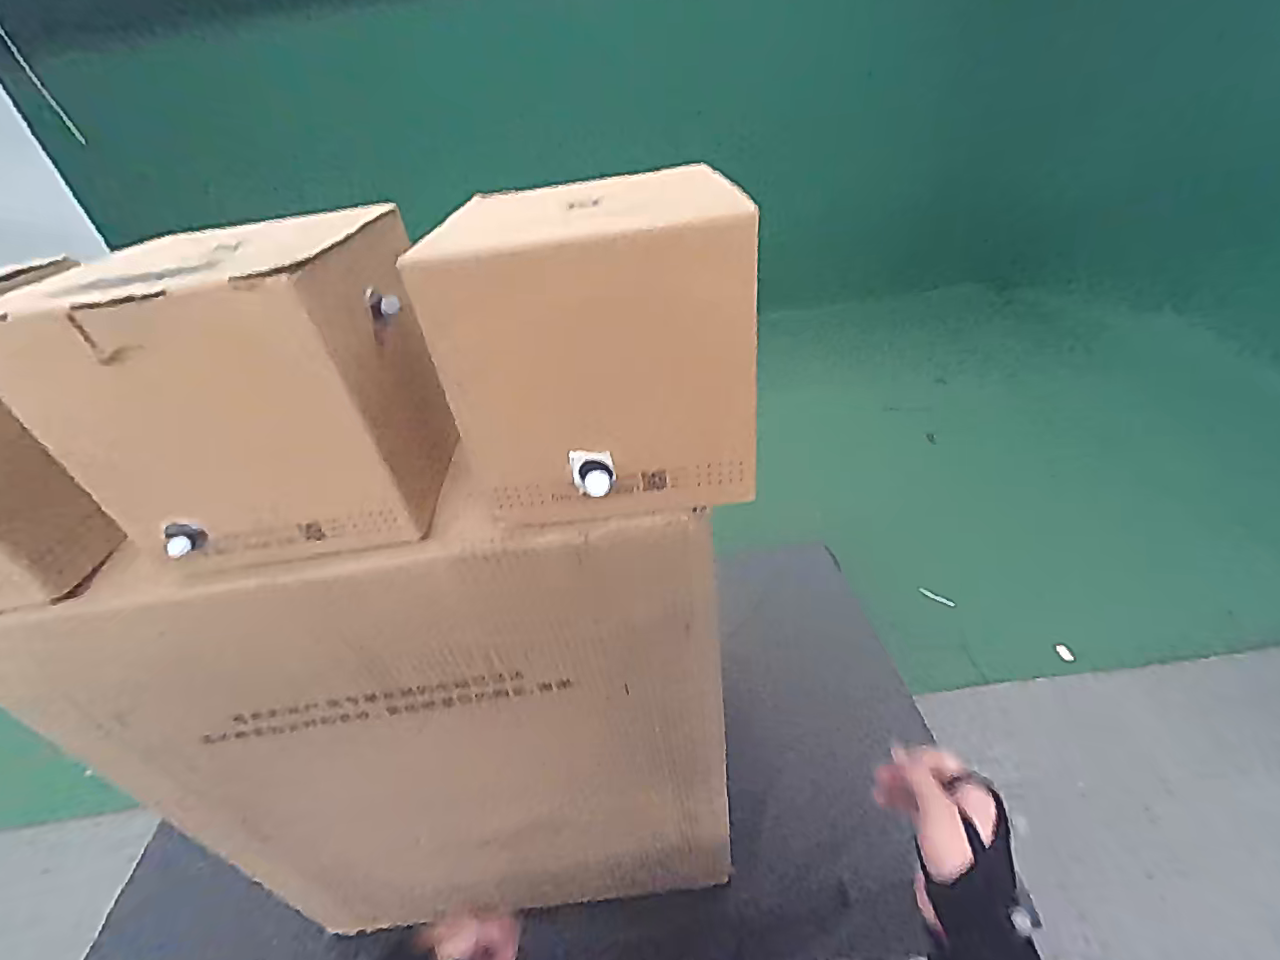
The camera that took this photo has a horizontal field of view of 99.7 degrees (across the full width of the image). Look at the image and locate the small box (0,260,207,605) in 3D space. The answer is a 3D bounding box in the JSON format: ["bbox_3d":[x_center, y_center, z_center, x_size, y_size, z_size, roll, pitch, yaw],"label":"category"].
[{"bbox_3d":[-0.452,-0.031,0.367,0.168,0.176,0.179,-9,36,4],"label":"small box"}]

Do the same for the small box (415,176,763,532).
[{"bbox_3d":[-0.020,-0.089,0.363,0.168,0.176,0.179,-8,37,2],"label":"small box"}]
